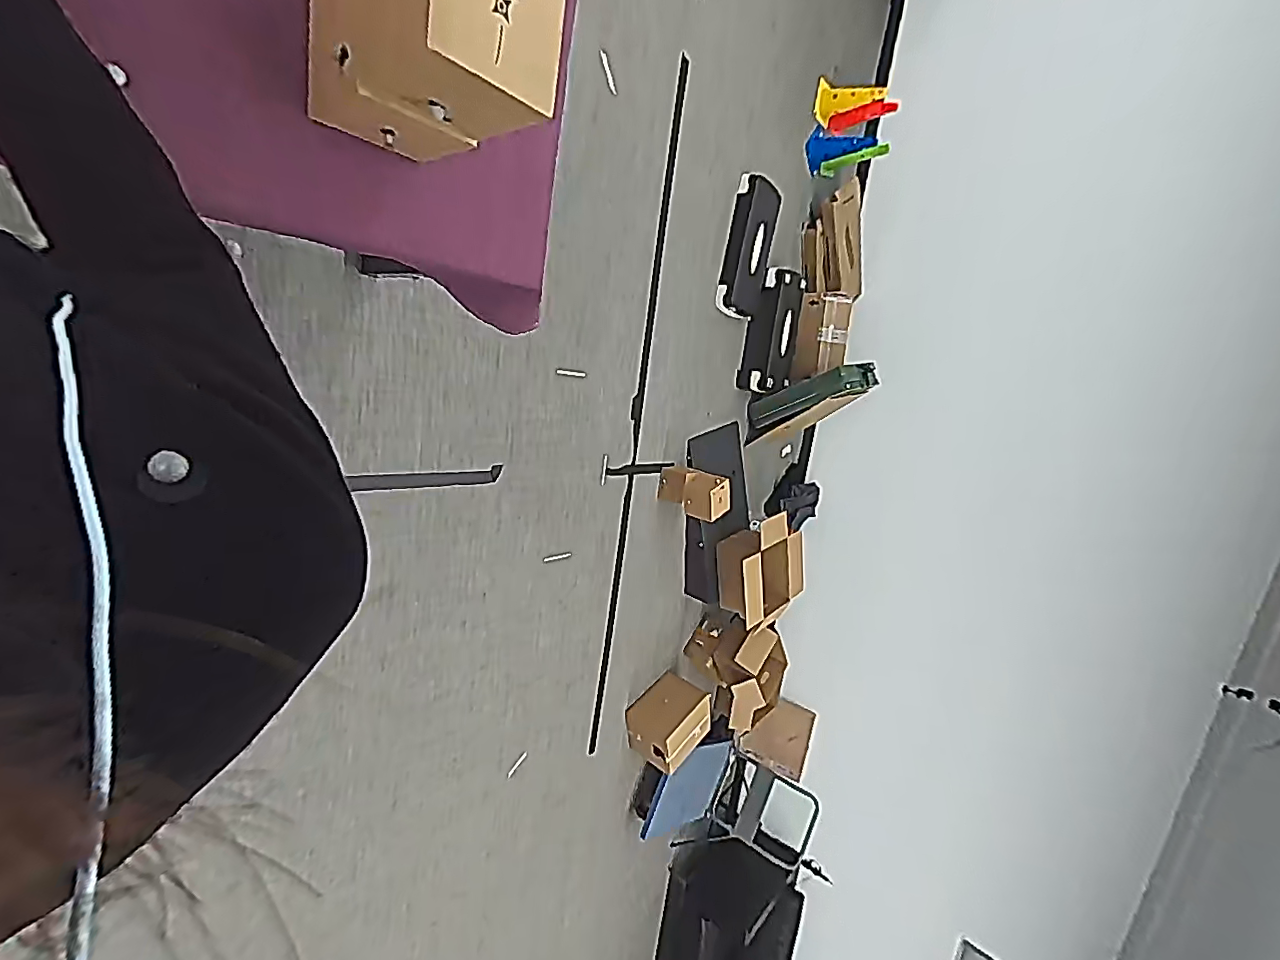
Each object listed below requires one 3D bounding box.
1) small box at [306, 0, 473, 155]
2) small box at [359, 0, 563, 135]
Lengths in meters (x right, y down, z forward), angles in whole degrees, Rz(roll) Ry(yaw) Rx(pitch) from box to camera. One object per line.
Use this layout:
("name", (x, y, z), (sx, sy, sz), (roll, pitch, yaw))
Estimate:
("small box", (-0.339, -0.576, 0.744), (0.168, 0.176, 0.179), (-5, 108, -50))
("small box", (-0.213, -0.546, 0.642), (0.168, 0.176, 0.179), (-4, 108, -49))
